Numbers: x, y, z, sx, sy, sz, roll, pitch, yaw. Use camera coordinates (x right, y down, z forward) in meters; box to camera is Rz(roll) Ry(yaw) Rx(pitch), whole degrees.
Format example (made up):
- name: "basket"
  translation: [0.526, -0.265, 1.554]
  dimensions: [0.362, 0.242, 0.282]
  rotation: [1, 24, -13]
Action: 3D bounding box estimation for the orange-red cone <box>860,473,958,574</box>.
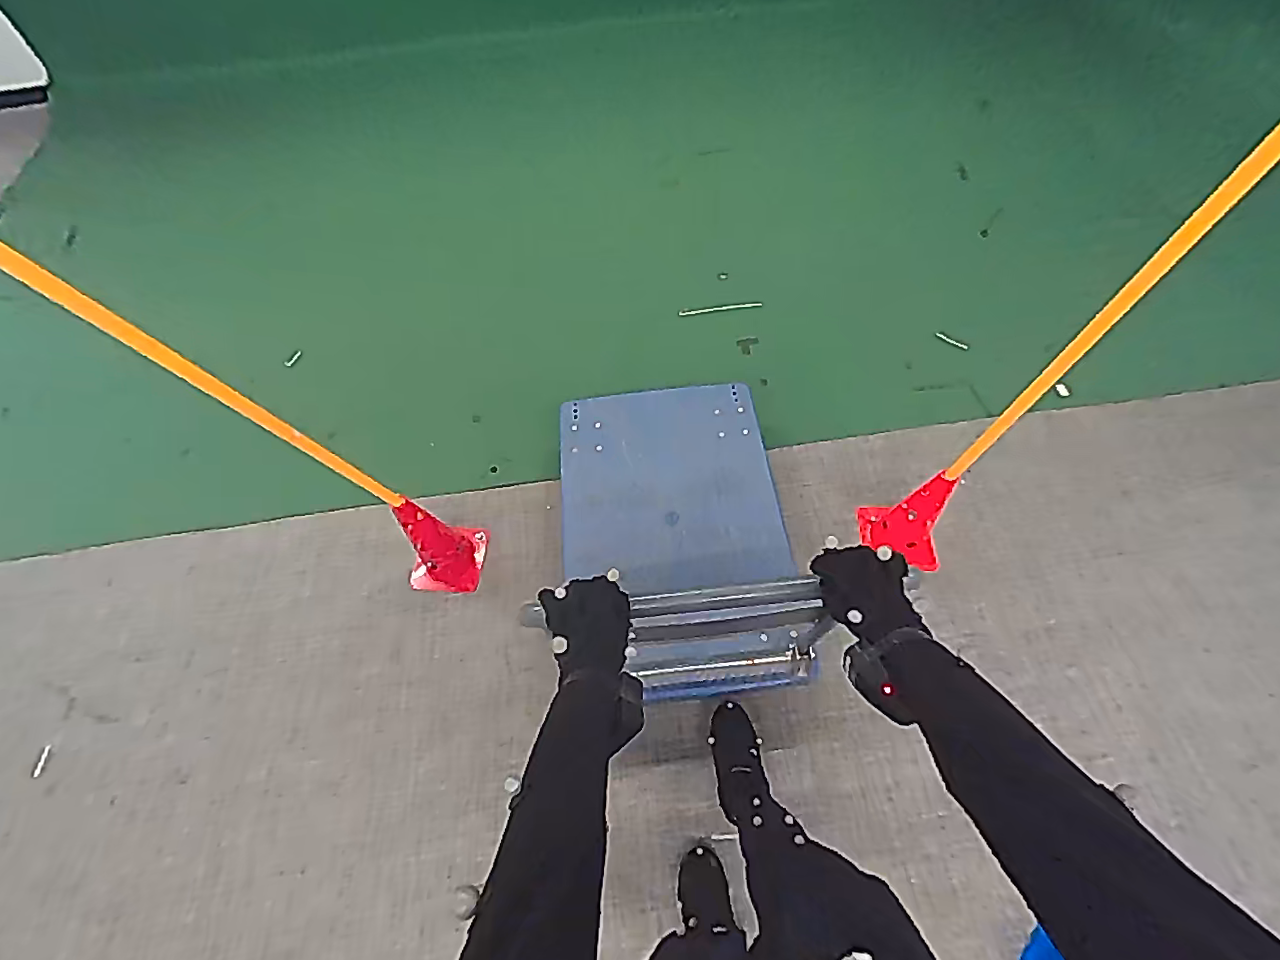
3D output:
- name: "orange-red cone"
  translation: [0.724, 0.088, 1.390]
  dimensions: [0.198, 0.360, 0.199]
  rotation: [1, 61, 5]
